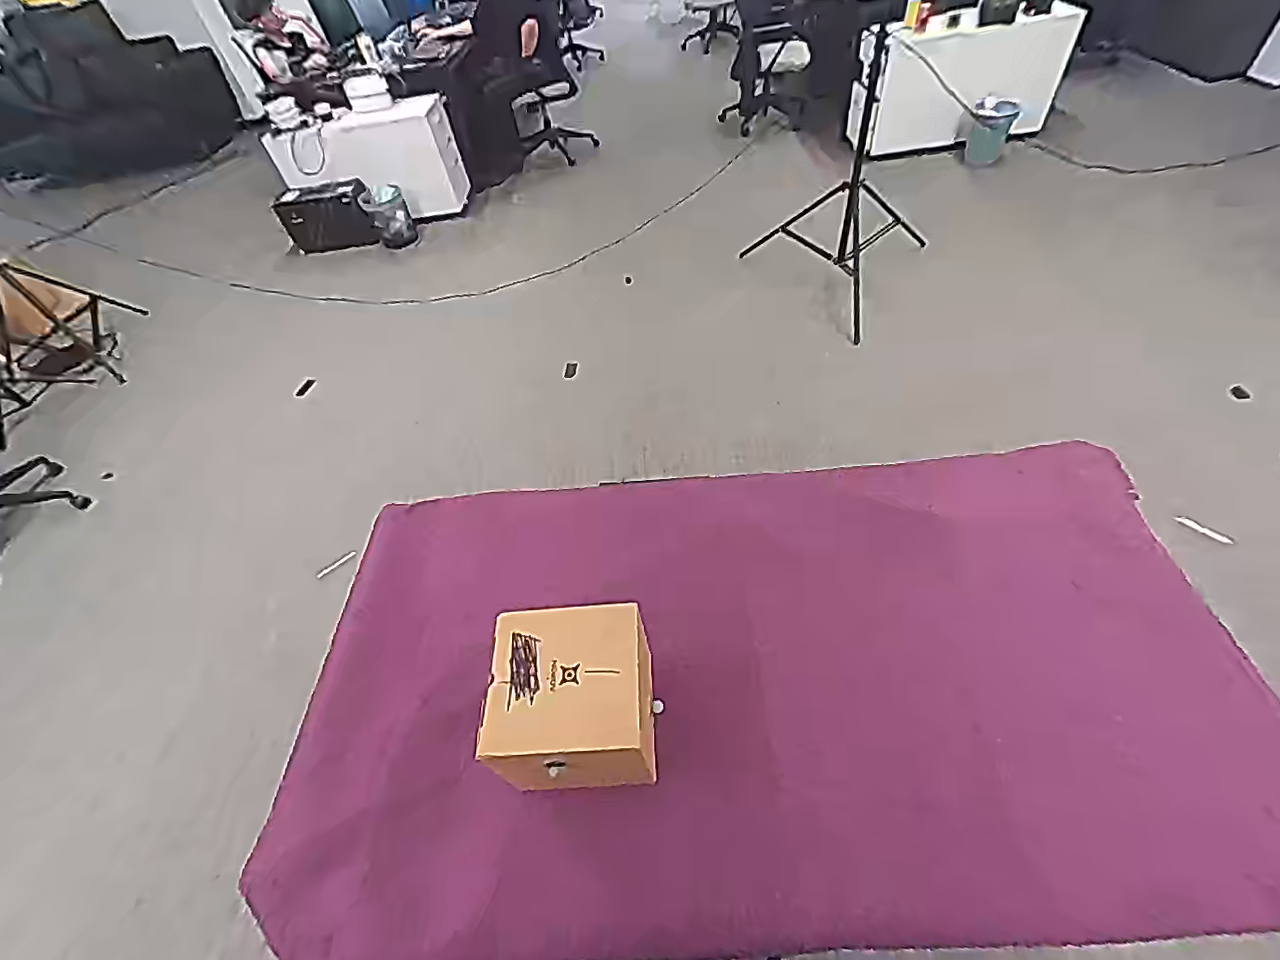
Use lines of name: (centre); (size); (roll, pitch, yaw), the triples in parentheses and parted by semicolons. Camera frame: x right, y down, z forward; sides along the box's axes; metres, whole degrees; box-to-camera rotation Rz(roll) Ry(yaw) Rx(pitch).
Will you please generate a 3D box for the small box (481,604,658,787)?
small box: (-0.074, 0.271, 0.672); (0.179, 0.176, 0.168); (-5, 50, 4)
